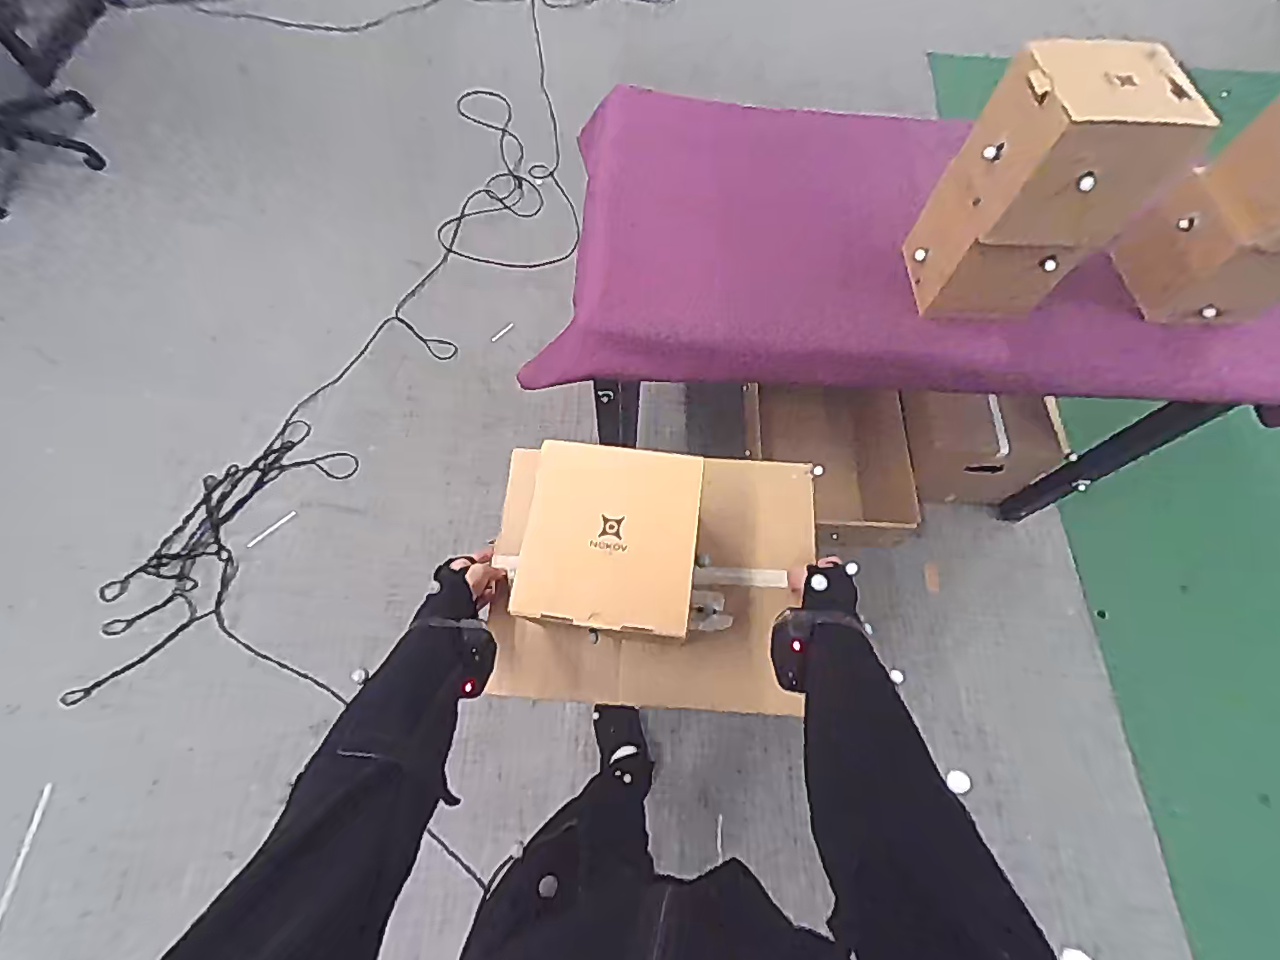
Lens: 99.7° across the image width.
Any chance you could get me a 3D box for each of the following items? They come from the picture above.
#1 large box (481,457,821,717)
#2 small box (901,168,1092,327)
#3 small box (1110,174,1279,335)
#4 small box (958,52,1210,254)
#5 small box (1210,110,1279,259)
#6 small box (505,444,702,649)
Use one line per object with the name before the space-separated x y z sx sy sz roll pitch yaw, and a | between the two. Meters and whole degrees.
large box | 0.016 0.171 0.813 0.408 0.320 0.320 3 71 1
small box | 0.550 -0.363 0.861 0.179 0.176 0.168 2 63 0
small box | 0.917 -0.356 0.866 0.168 0.176 0.179 0 64 0
small box | 0.548 -0.418 0.706 0.179 0.176 0.168 1 64 0
small box | 0.935 -0.417 0.713 0.168 0.176 0.179 0 64 1
small box | -0.031 0.081 0.587 0.168 0.176 0.179 7 71 3
